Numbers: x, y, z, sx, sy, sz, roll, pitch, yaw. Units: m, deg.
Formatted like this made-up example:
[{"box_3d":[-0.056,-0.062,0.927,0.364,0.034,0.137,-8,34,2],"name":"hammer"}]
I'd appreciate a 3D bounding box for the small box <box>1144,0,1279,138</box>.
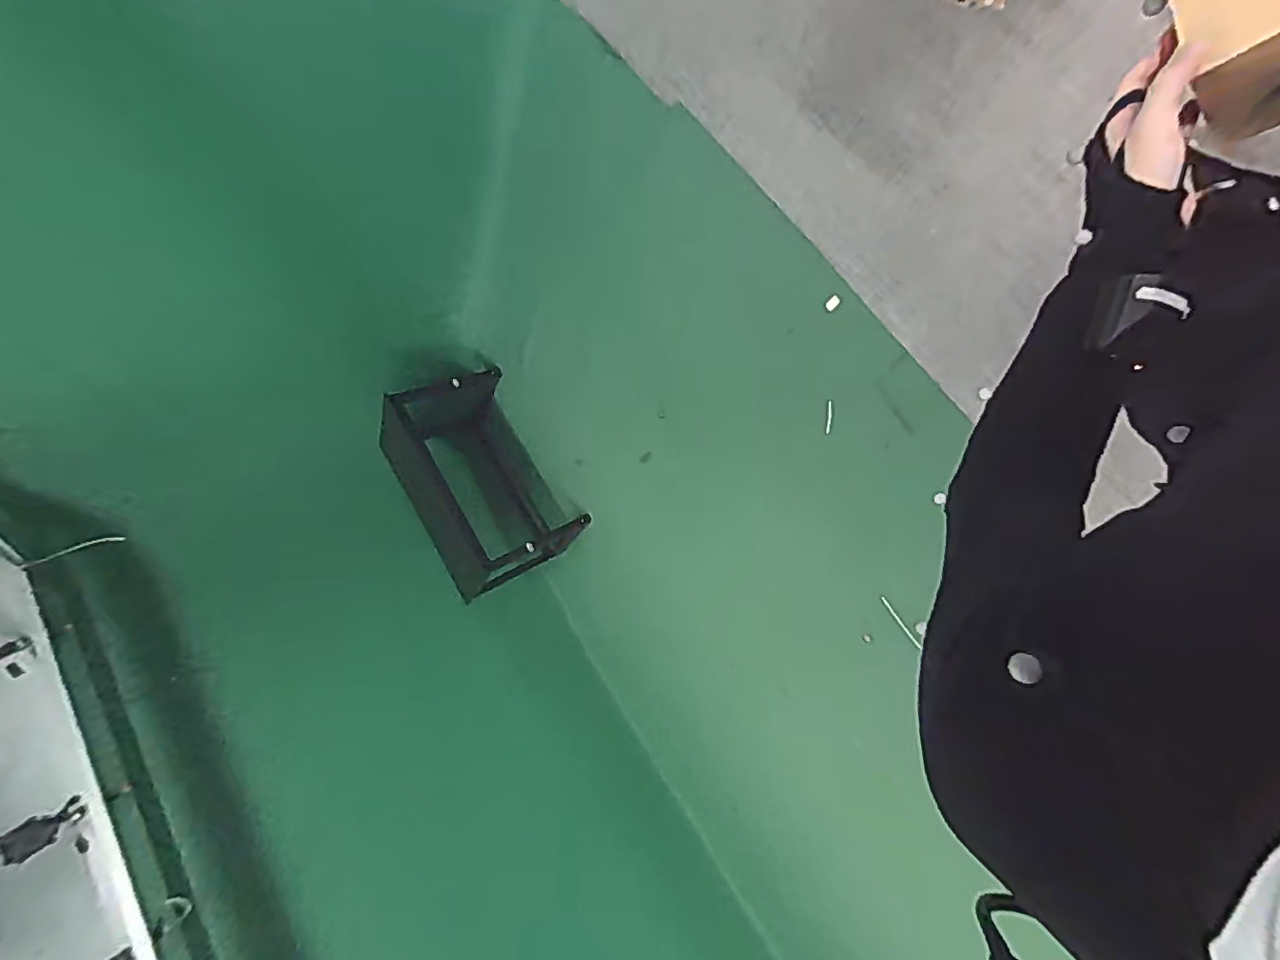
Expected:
[{"box_3d":[0.495,-0.390,0.396,0.168,0.176,0.179,-14,80,52],"name":"small box"}]
